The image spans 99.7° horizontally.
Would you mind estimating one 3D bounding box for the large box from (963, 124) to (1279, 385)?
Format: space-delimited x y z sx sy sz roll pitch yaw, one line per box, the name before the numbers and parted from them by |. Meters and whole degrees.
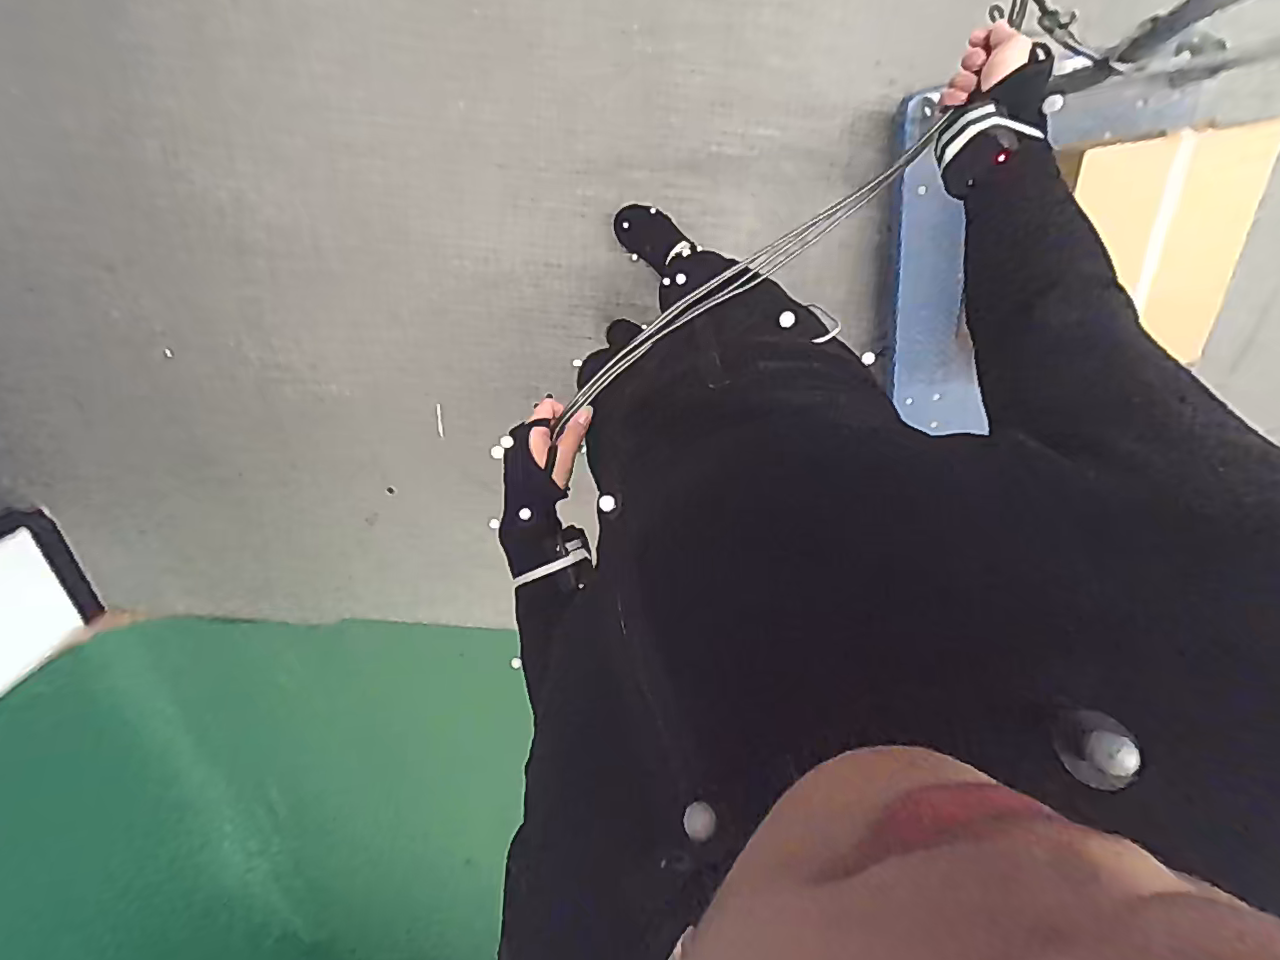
large box | 0.908 -0.452 1.094 0.320 0.320 0.408 -7 120 5
